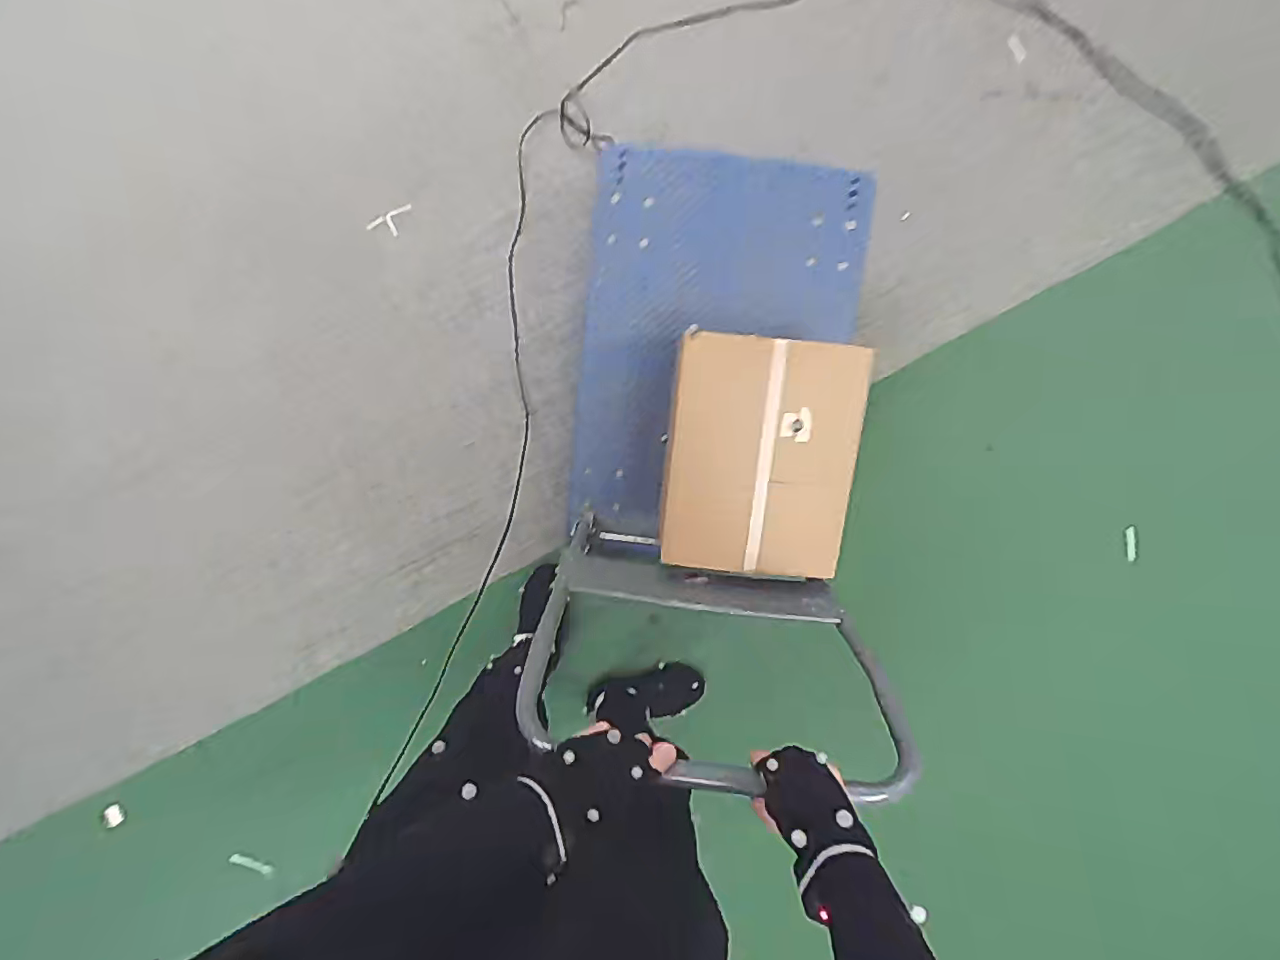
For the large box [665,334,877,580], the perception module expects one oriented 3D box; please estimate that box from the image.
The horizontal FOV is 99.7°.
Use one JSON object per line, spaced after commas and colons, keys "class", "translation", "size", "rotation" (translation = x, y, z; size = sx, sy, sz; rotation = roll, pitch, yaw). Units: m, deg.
{"class": "large box", "translation": [0.223, -0.056, 1.069], "size": [0.320, 0.320, 0.408], "rotation": [7, 101, 0]}
